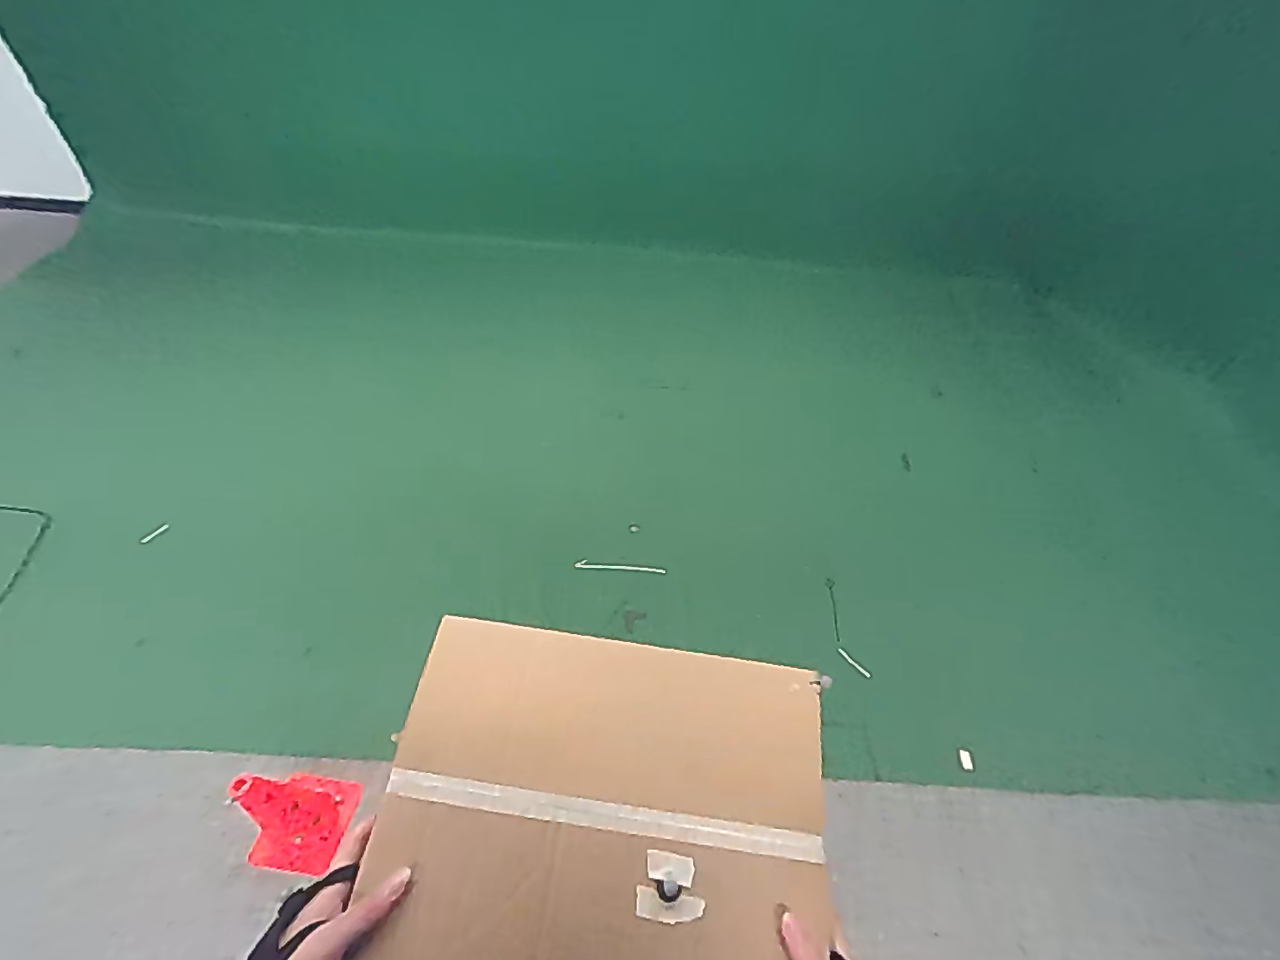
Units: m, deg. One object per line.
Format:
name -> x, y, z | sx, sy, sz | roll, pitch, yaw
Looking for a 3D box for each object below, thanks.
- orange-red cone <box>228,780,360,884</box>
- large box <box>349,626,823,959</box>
orange-red cone -> -0.812, 0.742, 1.204 | 0.199, 0.360, 0.198 | 8, 46, 4
large box -> -0.038, 0.388, 0.634 | 0.408, 0.320, 0.320 | 7, 60, 2
